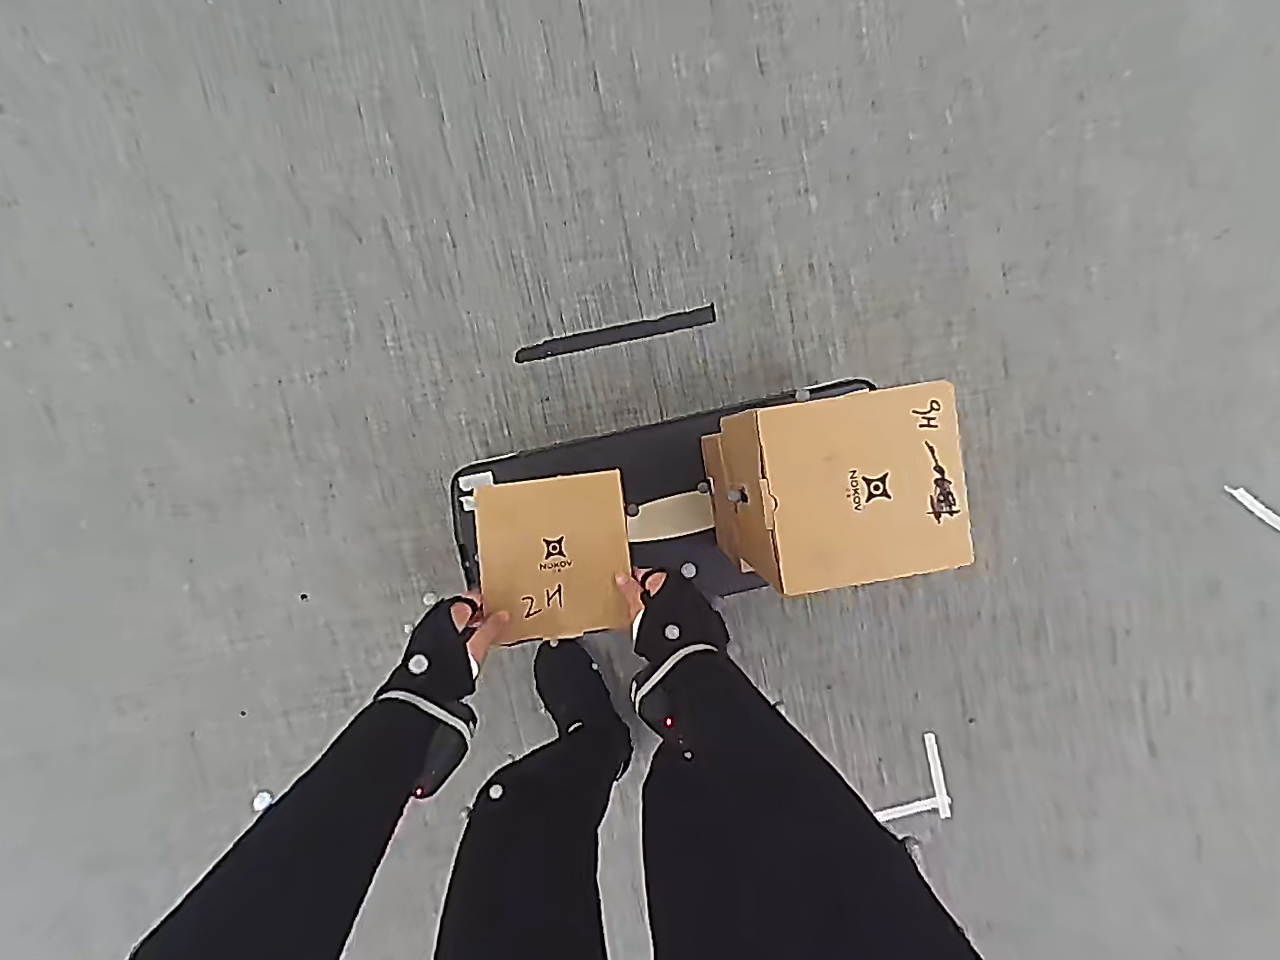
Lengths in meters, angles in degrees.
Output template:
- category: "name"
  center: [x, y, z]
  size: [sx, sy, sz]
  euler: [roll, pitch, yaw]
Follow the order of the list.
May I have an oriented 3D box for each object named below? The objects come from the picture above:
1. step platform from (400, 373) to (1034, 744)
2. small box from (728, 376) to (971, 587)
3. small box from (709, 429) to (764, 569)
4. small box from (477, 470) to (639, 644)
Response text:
- category: "step platform"
  center: [0.086, 0.083, 0.676]
  size: [0.684, 0.204, 0.286]
  euler: [-13, 94, -2]
- category: "small box"
  center: [0.192, -0.001, 0.547]
  size: [0.179, 0.176, 0.168]
  euler: [-9, 94, -1]
- category: "small box"
  center: [0.188, 0.005, 0.711]
  size: [0.179, 0.176, 0.168]
  euler: [-10, 94, -1]
- category: "small box"
  center: [-0.094, 0.094, 0.665]
  size: [0.168, 0.176, 0.179]
  euler: [-6, 82, -2]
